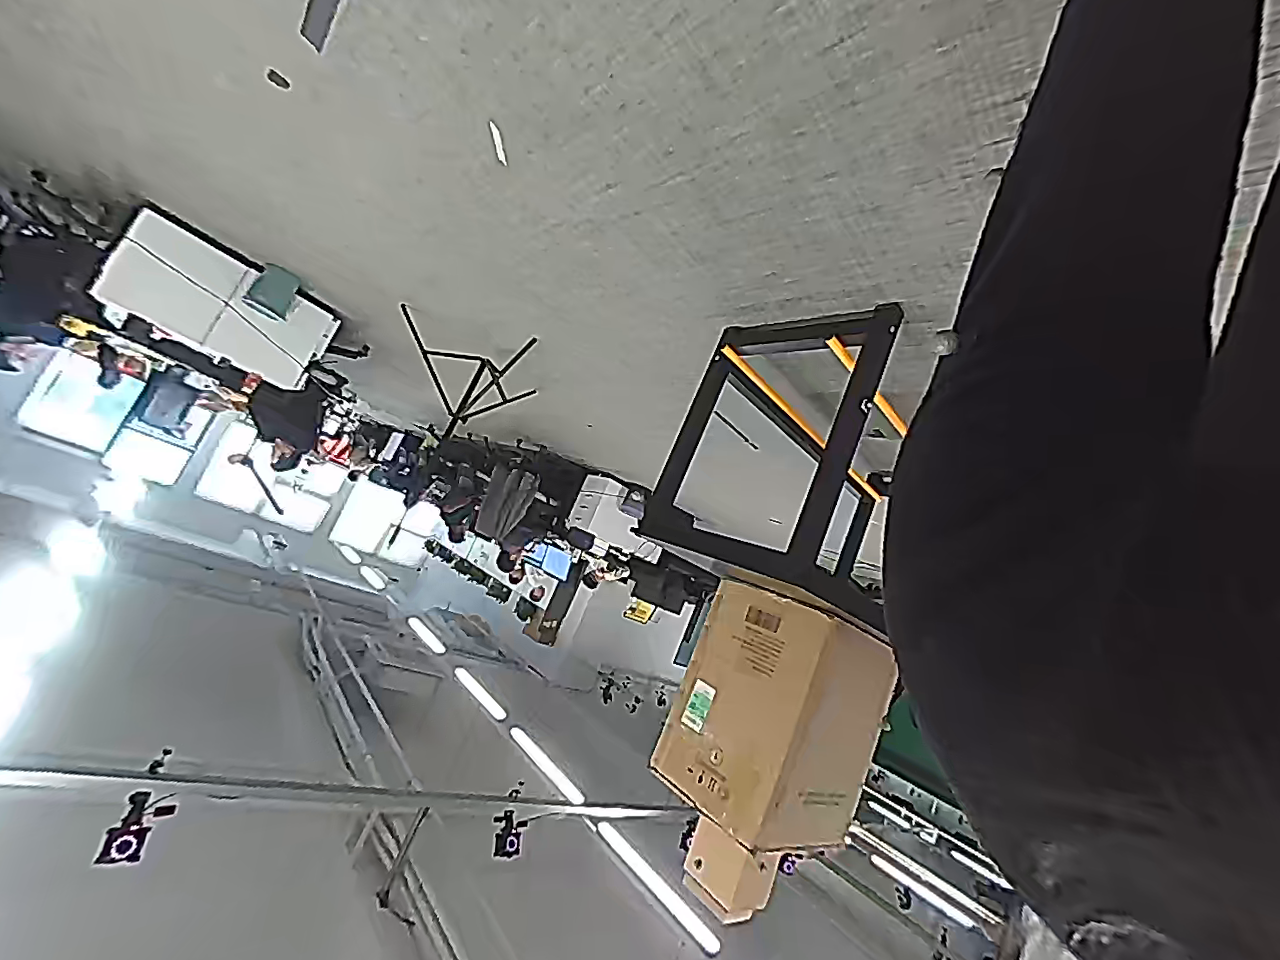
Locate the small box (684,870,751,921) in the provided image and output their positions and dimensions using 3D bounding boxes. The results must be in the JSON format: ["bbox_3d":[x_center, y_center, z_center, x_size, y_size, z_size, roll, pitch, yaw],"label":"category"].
[{"bbox_3d":[0.279,1.267,1.747,0.168,0.176,0.179,31,168,-40],"label":"small box"}]

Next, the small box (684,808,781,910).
[{"bbox_3d":[0.258,1.030,1.488,0.168,0.176,0.179,28,168,-36],"label":"small box"}]

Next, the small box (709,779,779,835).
[{"bbox_3d":[0.337,1.119,1.788,0.168,0.176,0.179,33,167,-38],"label":"small box"}]
